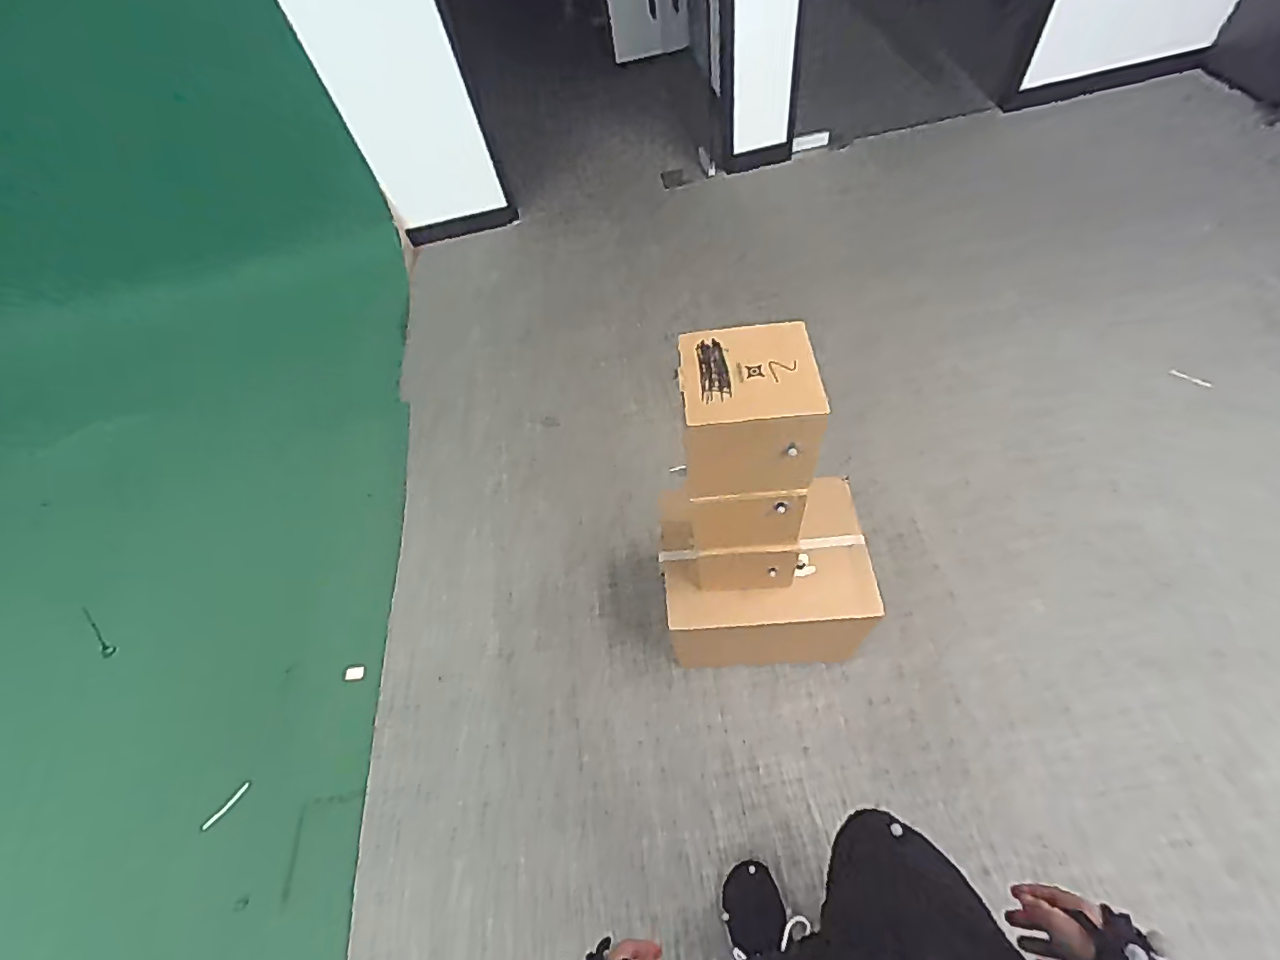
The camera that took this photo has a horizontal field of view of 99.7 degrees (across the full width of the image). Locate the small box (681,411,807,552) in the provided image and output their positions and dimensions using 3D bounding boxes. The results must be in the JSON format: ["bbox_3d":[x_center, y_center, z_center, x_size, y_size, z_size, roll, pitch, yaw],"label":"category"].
[{"bbox_3d":[0.164,0.010,0.890,0.179,0.176,0.168,-5,56,5],"label":"small box"}]

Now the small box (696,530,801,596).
[{"bbox_3d":[0.192,0.109,1.016,0.179,0.176,0.168,-5,56,7],"label":"small box"}]

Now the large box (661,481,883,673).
[{"bbox_3d":[0.264,0.230,1.218,0.408,0.320,0.320,-5,58,4],"label":"large box"}]
